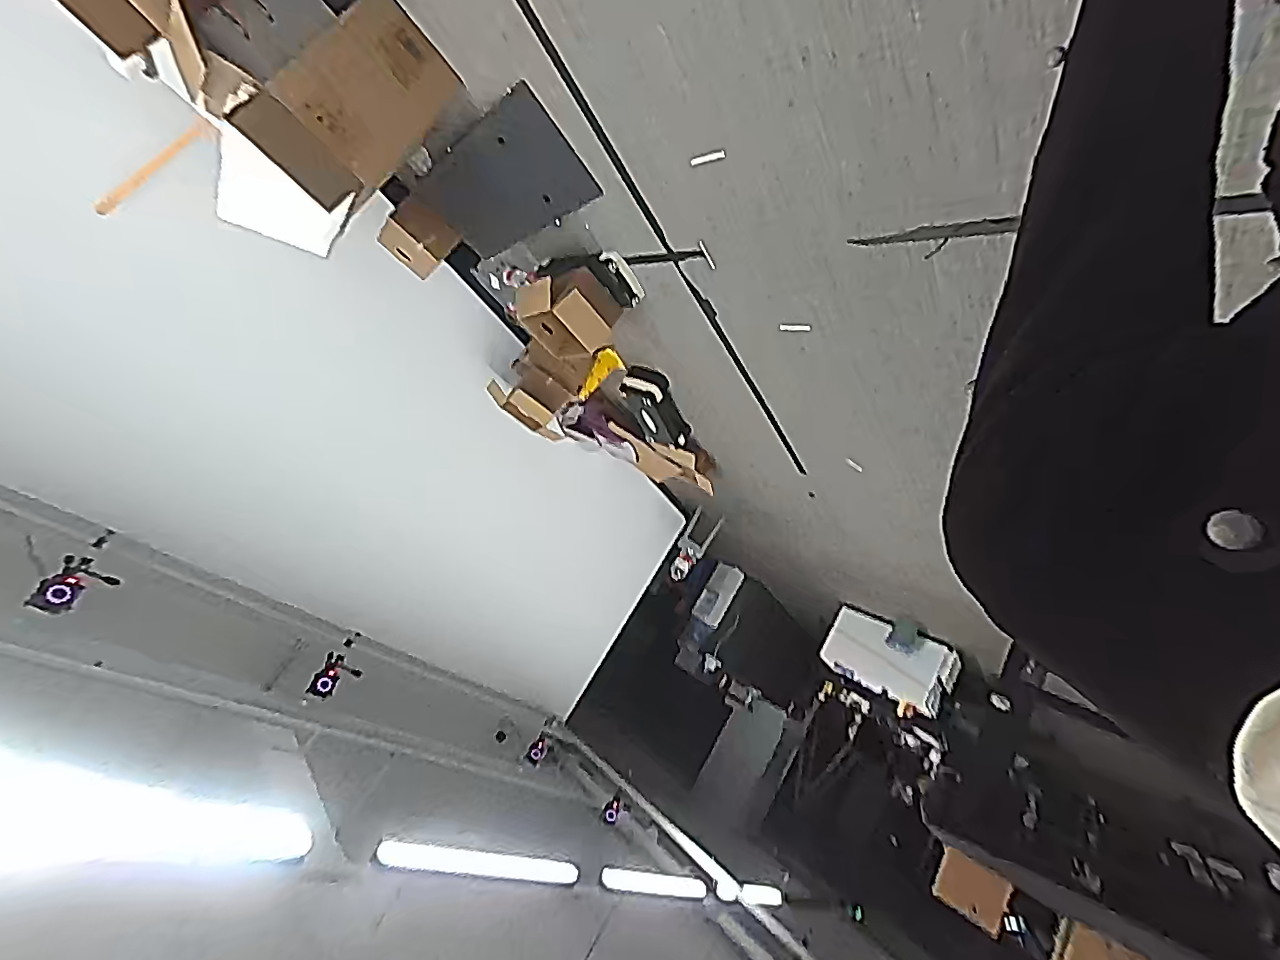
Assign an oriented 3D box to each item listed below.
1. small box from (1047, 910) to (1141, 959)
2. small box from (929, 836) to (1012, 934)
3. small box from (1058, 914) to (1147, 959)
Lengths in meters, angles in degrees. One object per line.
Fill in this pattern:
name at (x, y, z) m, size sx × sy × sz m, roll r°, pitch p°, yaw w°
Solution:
small box at (1.309, 1.387, 1.559) m, size 0.179 × 0.176 × 0.168 m, roll 20°, pitch 161°, yaw 43°
small box at (0.986, 1.194, 1.607) m, size 0.168 × 0.176 × 0.179 m, roll 19°, pitch 161°, yaw 41°
small box at (1.188, 1.258, 1.382) m, size 0.168 × 0.176 × 0.179 m, roll 18°, pitch 161°, yaw 43°
